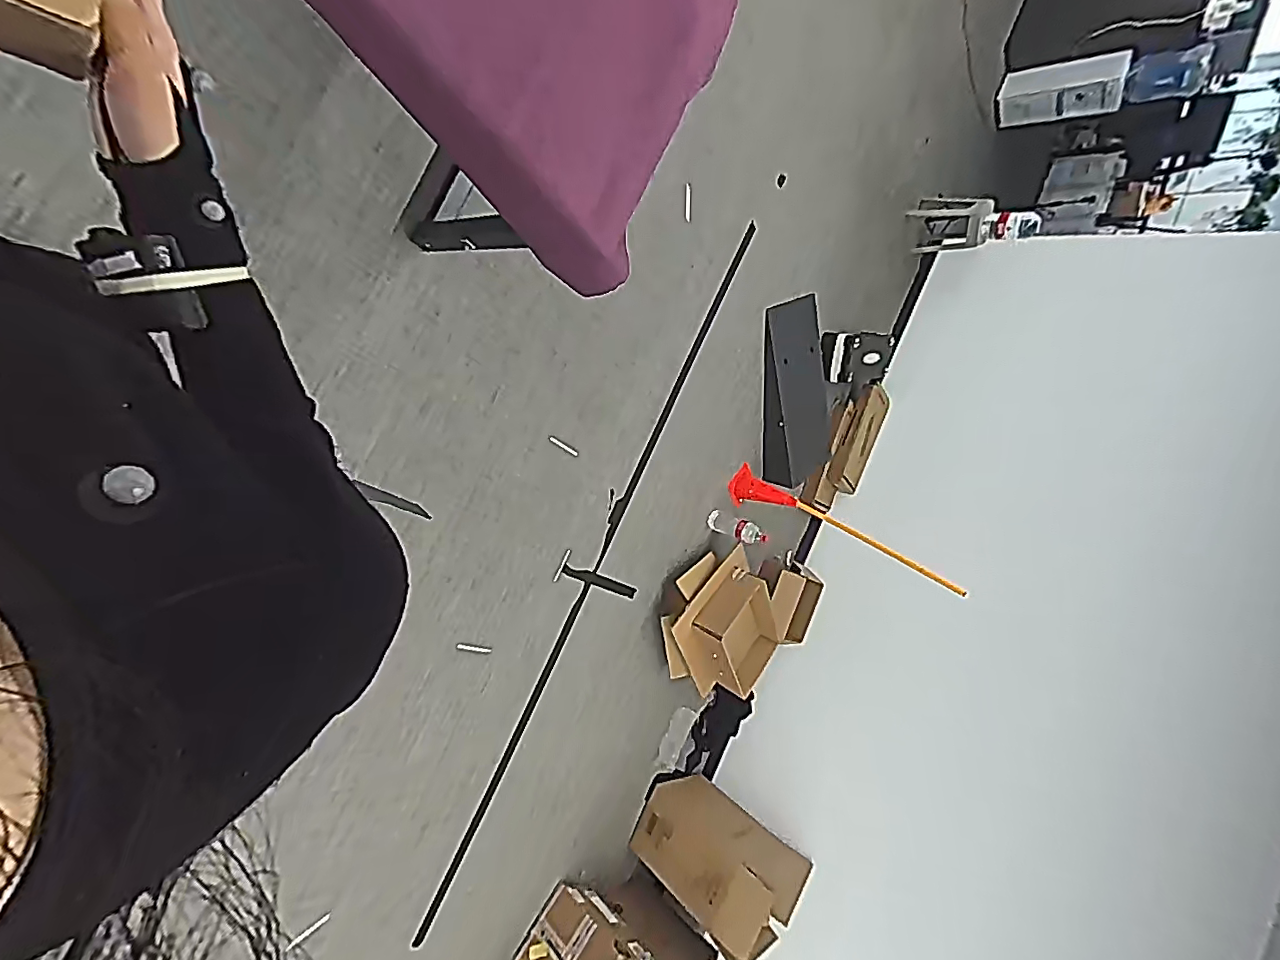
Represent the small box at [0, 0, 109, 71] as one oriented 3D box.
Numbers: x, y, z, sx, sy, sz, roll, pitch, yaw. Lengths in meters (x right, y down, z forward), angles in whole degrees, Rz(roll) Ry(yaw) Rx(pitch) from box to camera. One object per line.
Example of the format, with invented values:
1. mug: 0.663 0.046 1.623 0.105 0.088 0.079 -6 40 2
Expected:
1. small box: -0.346 -0.318 0.234 0.168 0.176 0.179 -1 112 -48
